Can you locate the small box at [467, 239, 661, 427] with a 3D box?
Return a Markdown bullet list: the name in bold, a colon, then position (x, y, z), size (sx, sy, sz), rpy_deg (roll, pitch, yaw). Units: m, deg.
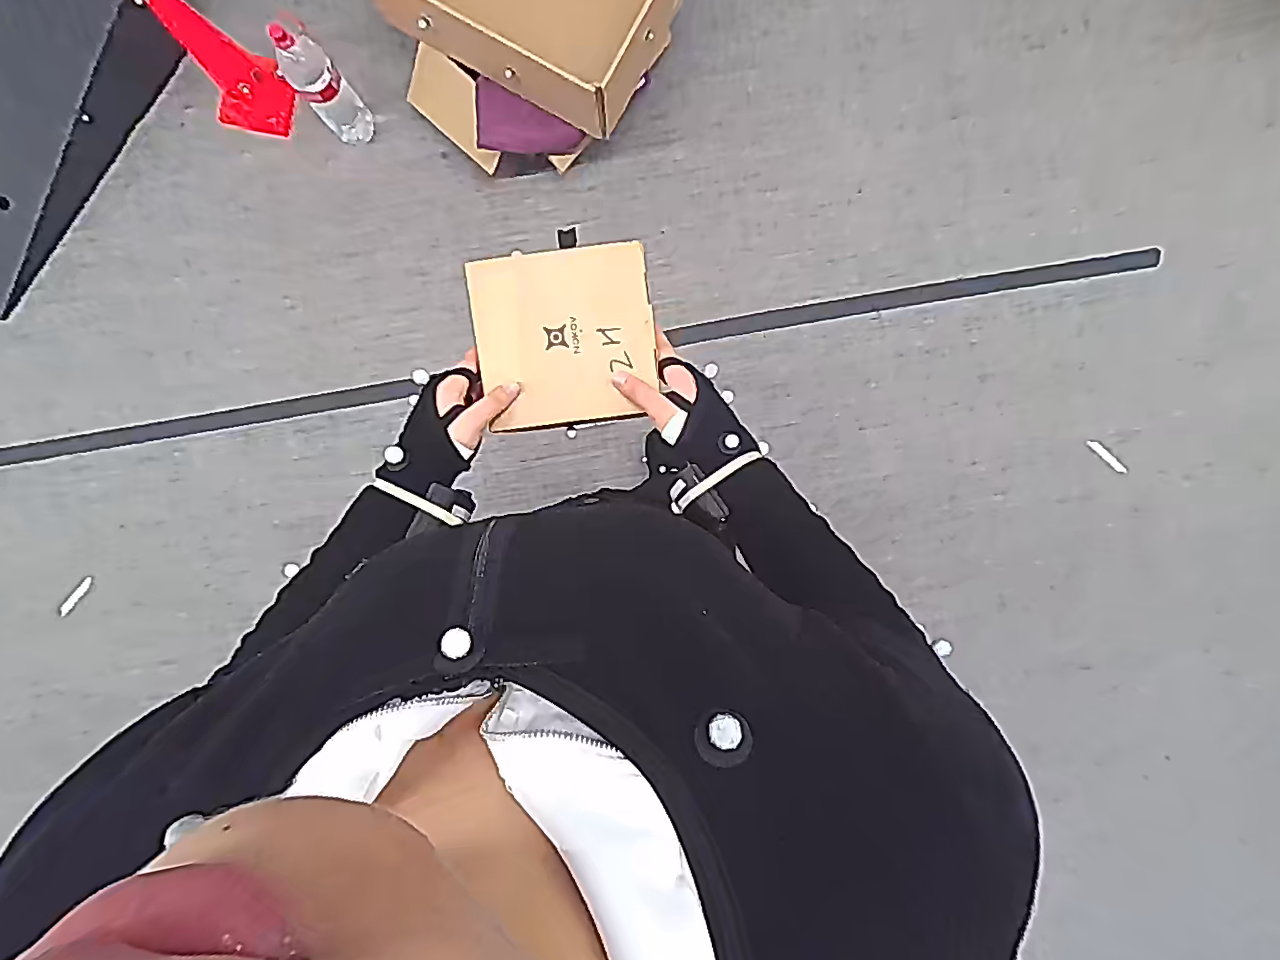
- **small box**: position (-0.074, -0.150, 0.607), size (0.179, 0.176, 0.168), rpy_deg (-7, 96, 0)
